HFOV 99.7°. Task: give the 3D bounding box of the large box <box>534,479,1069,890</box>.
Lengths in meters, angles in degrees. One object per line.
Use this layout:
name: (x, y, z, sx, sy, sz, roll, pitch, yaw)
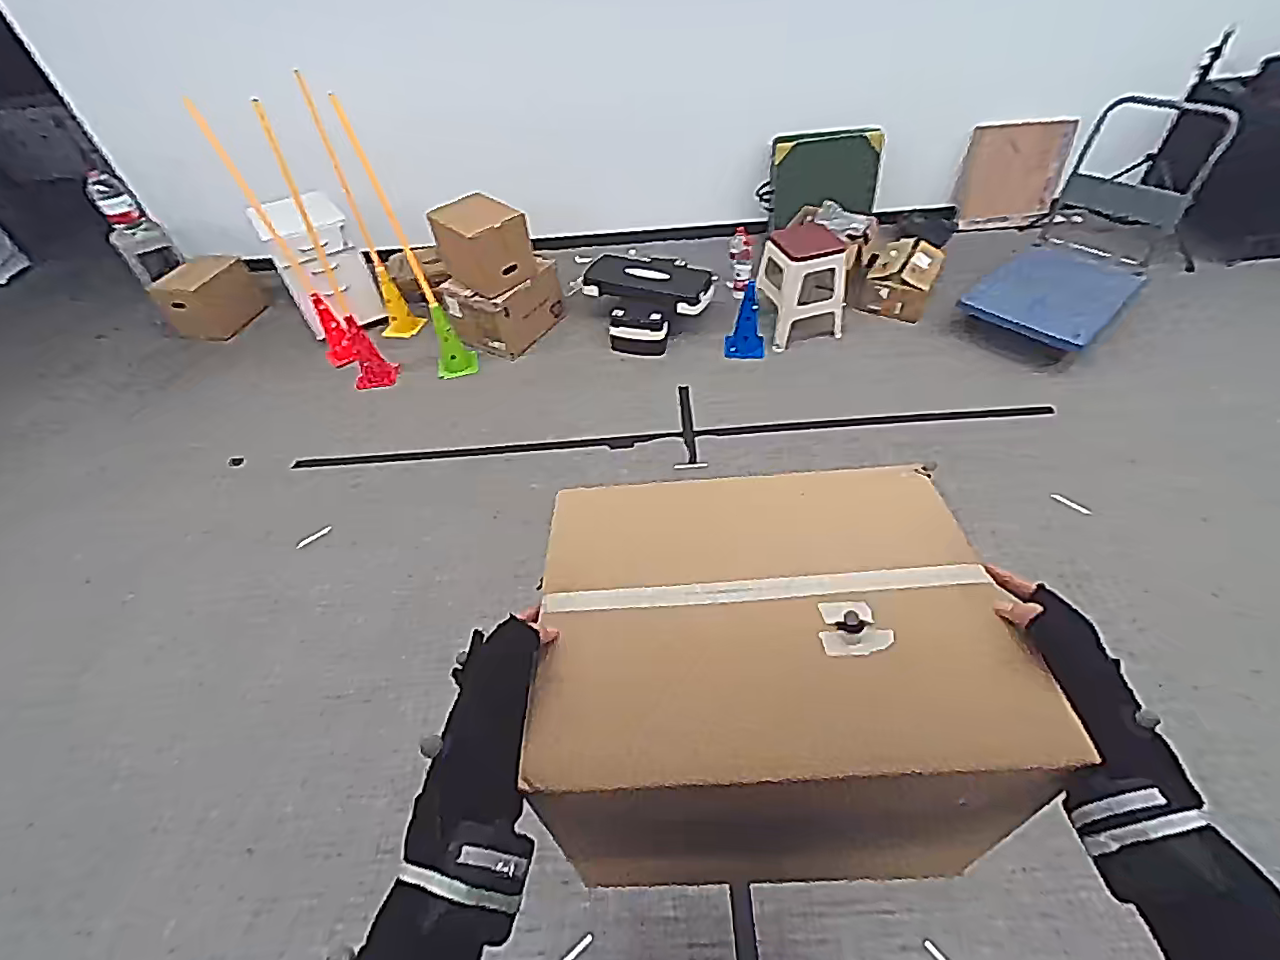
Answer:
large box: (0.123, 0.226, 0.605, 0.408, 0.320, 0.320, -4, 42, 3)
